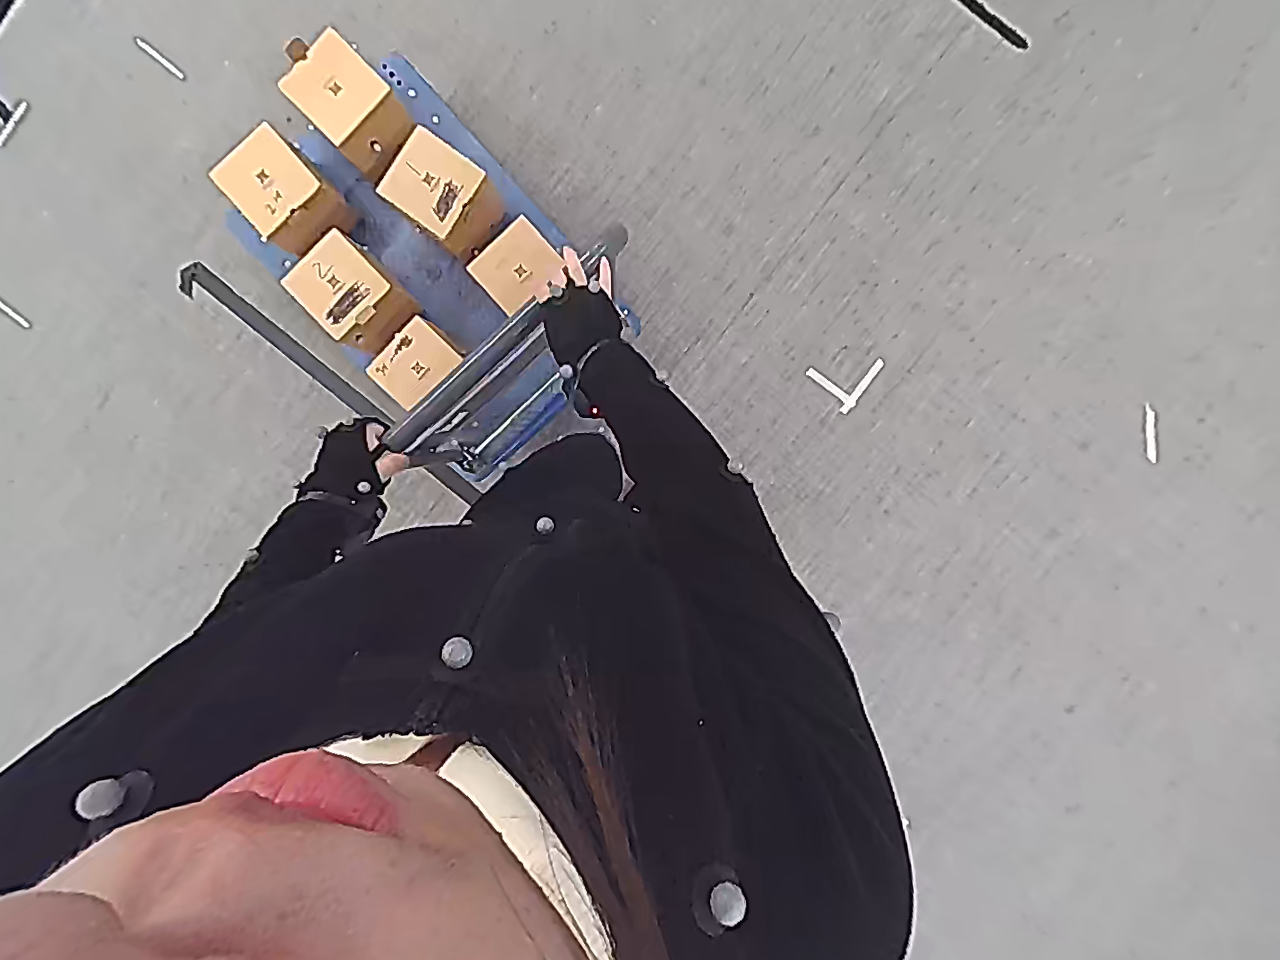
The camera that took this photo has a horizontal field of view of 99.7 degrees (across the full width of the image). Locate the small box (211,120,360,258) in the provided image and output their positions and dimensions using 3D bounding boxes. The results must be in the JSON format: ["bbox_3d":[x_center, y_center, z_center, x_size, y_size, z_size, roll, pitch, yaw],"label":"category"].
[{"bbox_3d":[-0.769,-0.627,1.193,0.168,0.176,0.179,-41,94,3],"label":"small box"}]

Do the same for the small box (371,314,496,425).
[{"bbox_3d":[-0.453,-0.241,1.220,0.179,0.176,0.168,43,92,-3],"label":"small box"}]

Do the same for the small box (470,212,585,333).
[{"bbox_3d":[-0.240,-0.448,1.207,0.168,0.176,0.179,-43,92,2],"label":"small box"}]

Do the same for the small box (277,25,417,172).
[{"bbox_3d":[-0.625,-0.813,1.181,0.179,0.176,0.168,44,93,-3],"label":"small box"}]

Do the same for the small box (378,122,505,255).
[{"bbox_3d":[-0.426,-0.626,1.193,0.179,0.176,0.168,35,93,-1],"label":"small box"}]
